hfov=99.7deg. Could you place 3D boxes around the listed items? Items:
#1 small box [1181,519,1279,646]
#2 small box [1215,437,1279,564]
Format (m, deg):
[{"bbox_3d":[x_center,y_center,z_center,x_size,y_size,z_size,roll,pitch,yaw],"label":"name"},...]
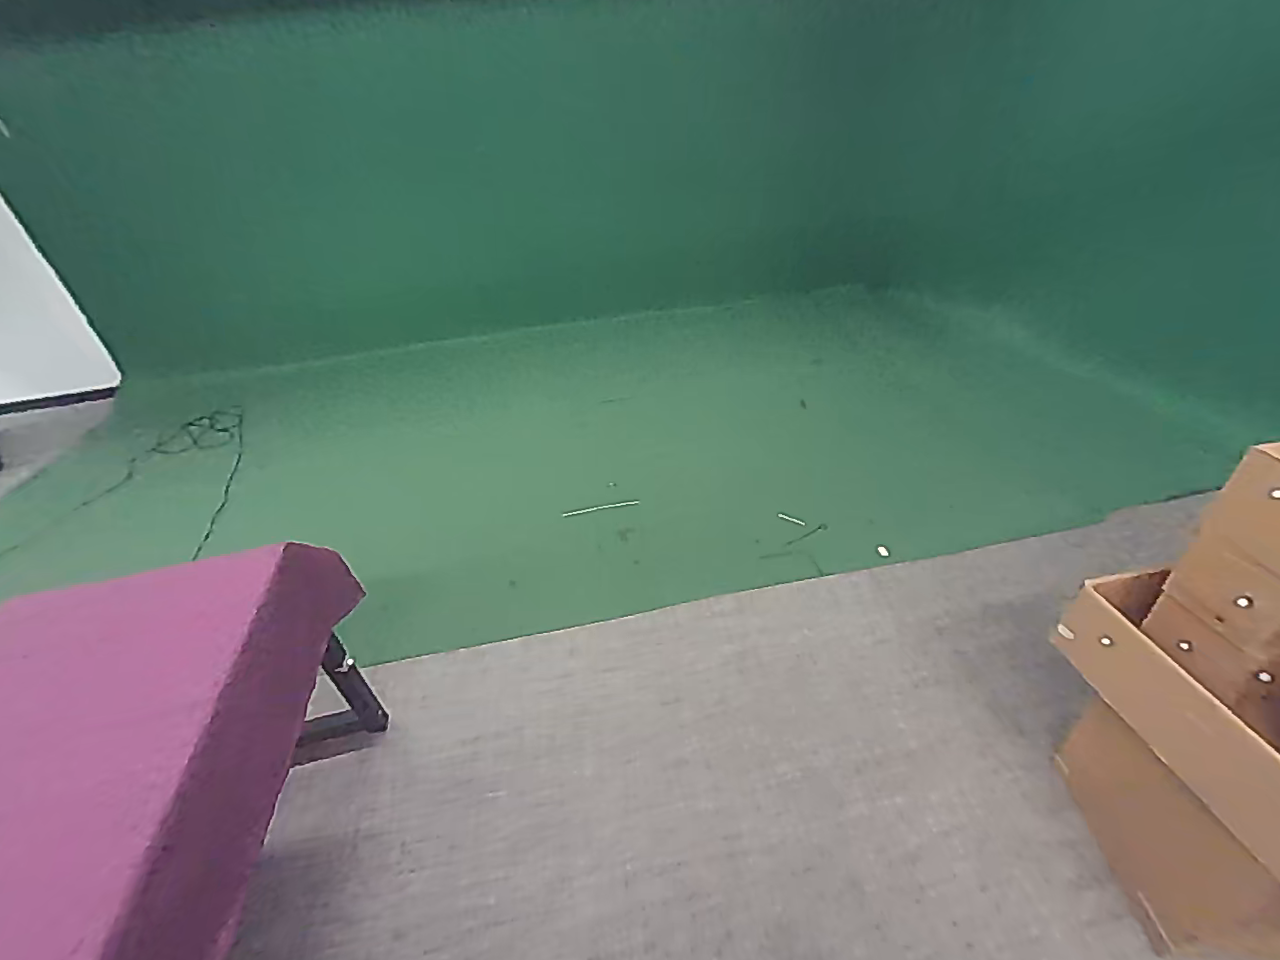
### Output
[{"bbox_3d":[1.128,0.171,0.956,0.179,0.176,0.168,-9,36,-3],"label":"small box"},{"bbox_3d":[1.103,0.039,0.860,0.168,0.176,0.179,-8,36,0],"label":"small box"}]
